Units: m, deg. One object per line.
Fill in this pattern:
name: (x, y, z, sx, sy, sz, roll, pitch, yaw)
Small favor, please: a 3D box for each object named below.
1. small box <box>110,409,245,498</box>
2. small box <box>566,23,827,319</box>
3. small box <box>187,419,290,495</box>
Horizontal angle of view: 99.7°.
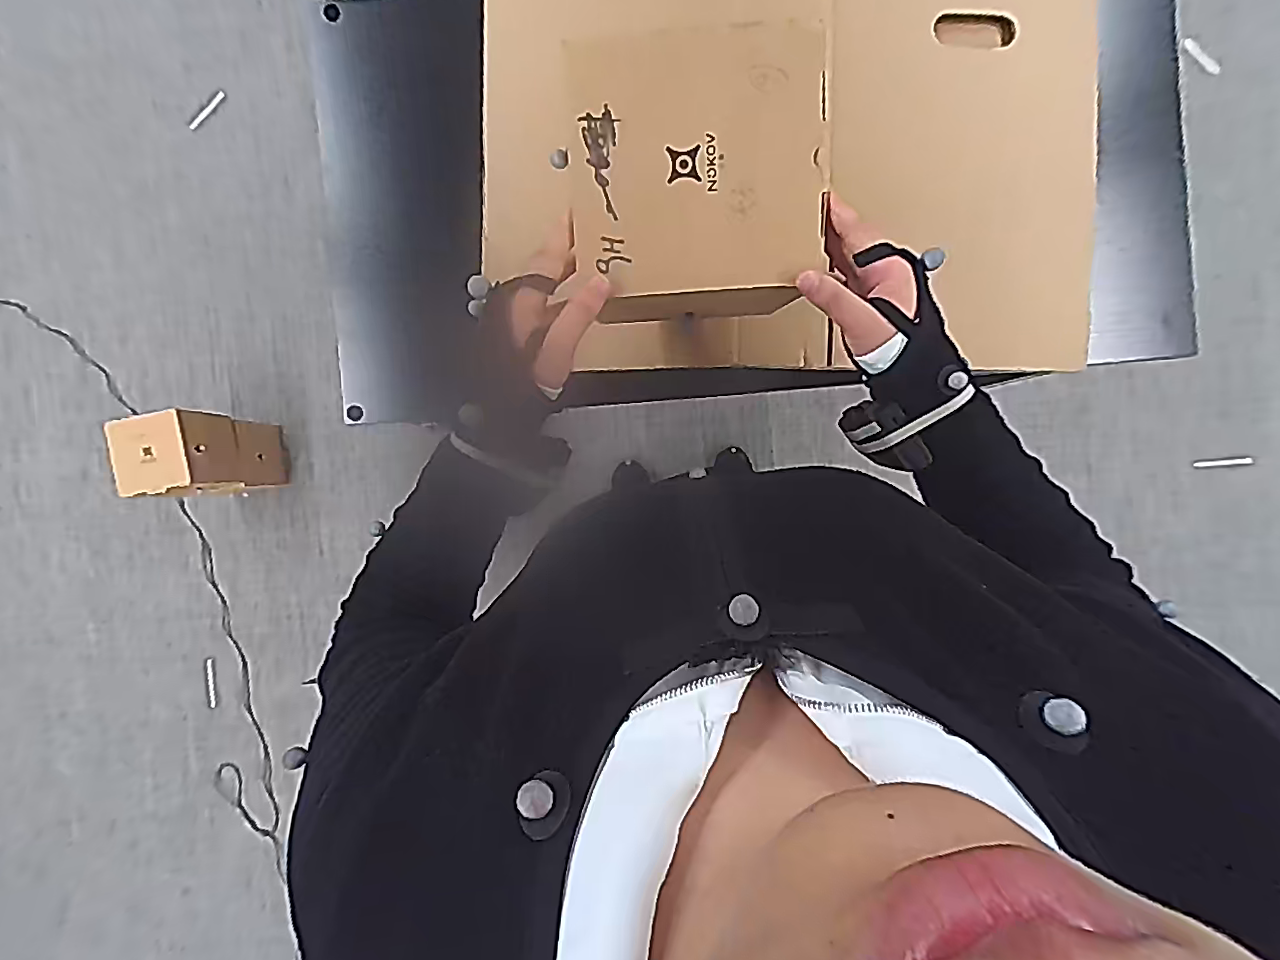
small box: (-1.085, -0.062, 1.284, 0.168, 0.176, 0.179, -11, 90, 1)
small box: (0.039, -0.231, 0.448, 0.179, 0.176, 0.168, -4, 99, 0)
small box: (-1.080, -0.059, 1.447, 0.168, 0.176, 0.179, -9, 92, 1)
